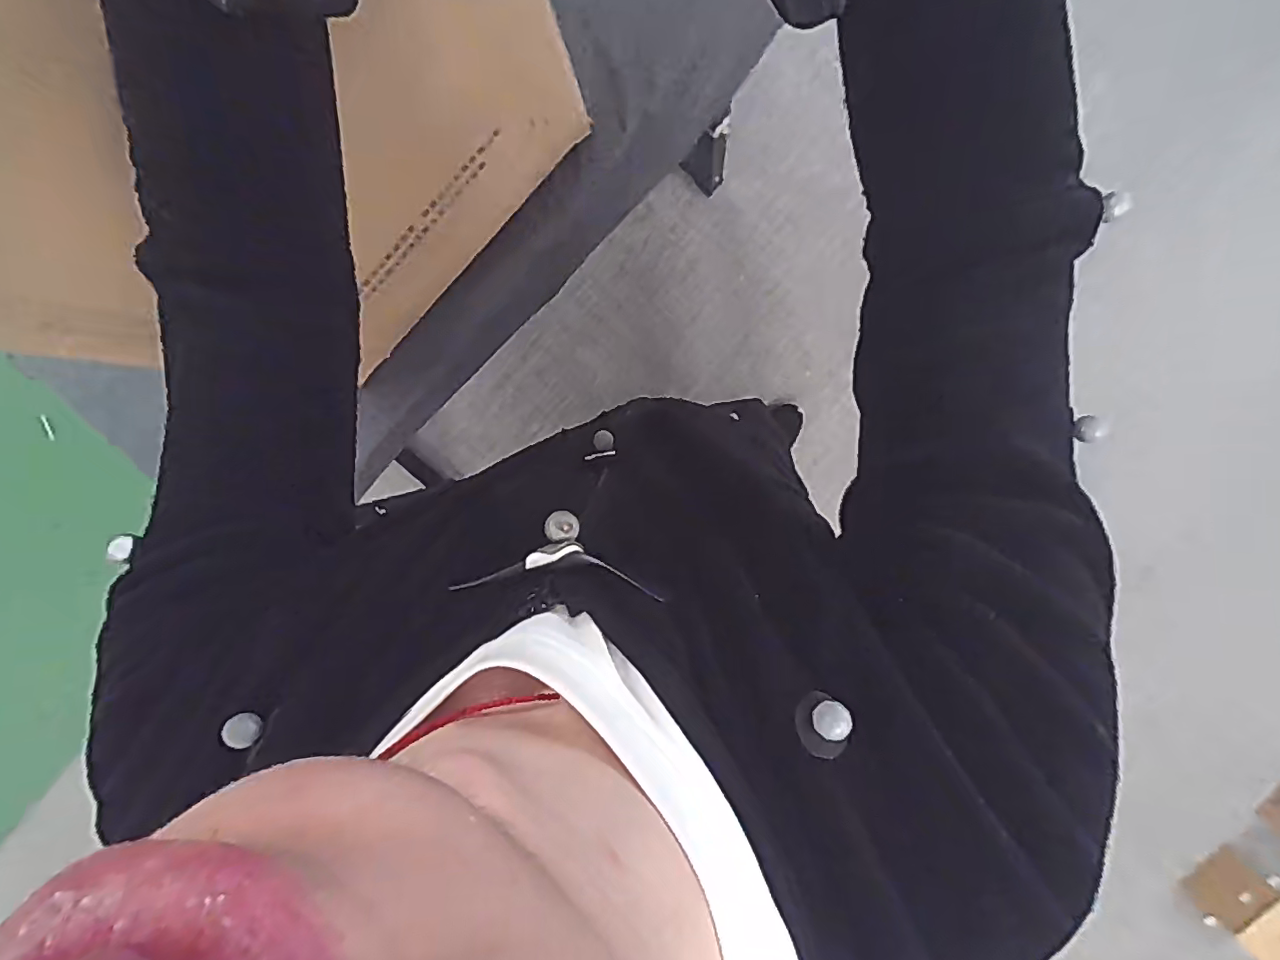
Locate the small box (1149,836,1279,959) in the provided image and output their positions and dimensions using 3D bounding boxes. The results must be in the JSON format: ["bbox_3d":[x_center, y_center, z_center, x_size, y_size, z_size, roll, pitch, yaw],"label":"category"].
[{"bbox_3d":[1.555,1.118,1.457,0.168,0.176,0.179,45,97,1],"label":"small box"}]
